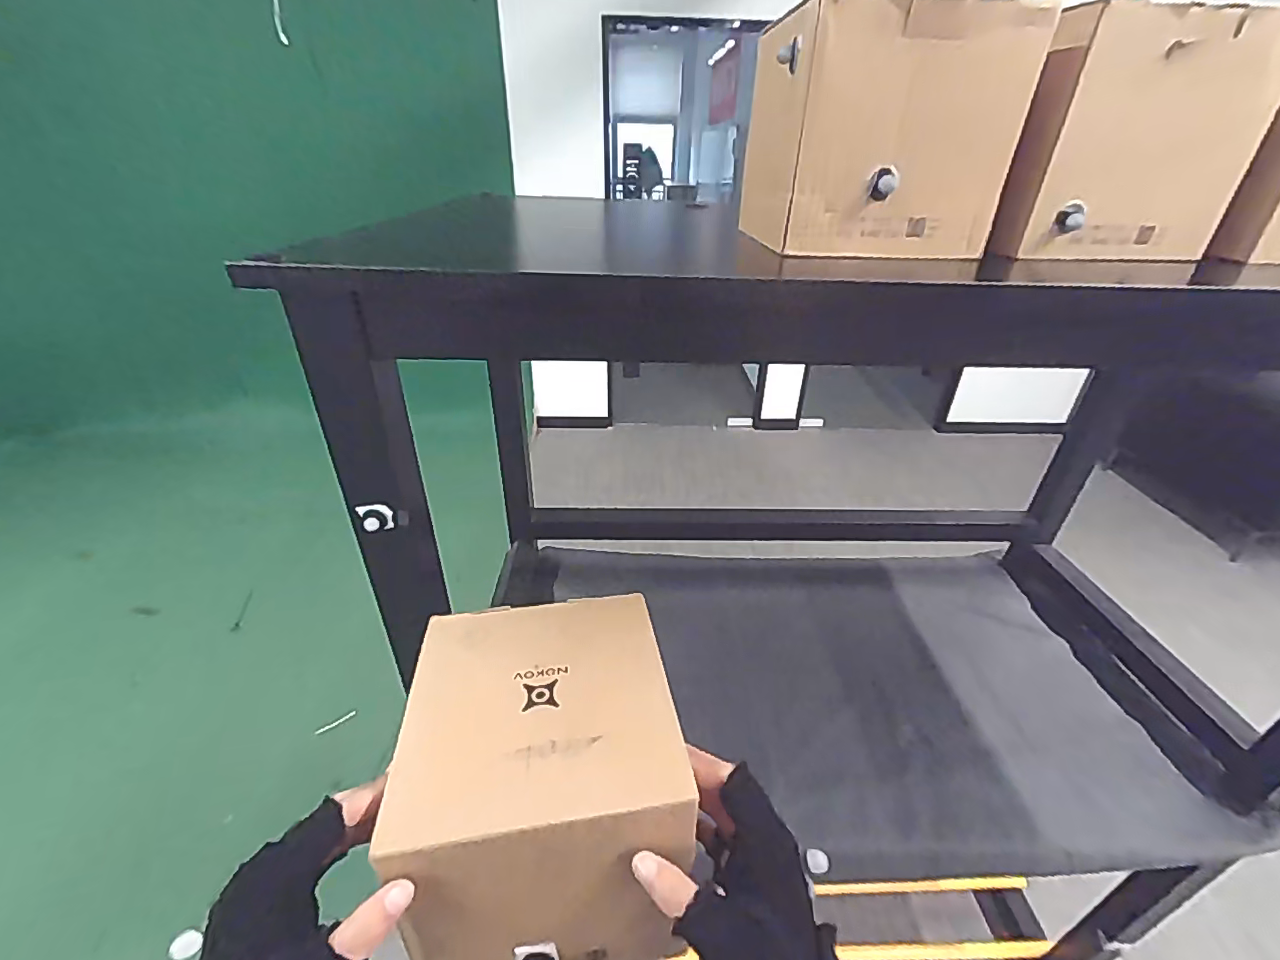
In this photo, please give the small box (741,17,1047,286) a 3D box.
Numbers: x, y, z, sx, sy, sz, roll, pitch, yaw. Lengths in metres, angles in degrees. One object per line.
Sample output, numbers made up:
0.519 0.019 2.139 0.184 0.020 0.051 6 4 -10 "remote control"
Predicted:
0.193 -0.279 0.479 0.168 0.176 0.179 0 32 -3 "small box"
